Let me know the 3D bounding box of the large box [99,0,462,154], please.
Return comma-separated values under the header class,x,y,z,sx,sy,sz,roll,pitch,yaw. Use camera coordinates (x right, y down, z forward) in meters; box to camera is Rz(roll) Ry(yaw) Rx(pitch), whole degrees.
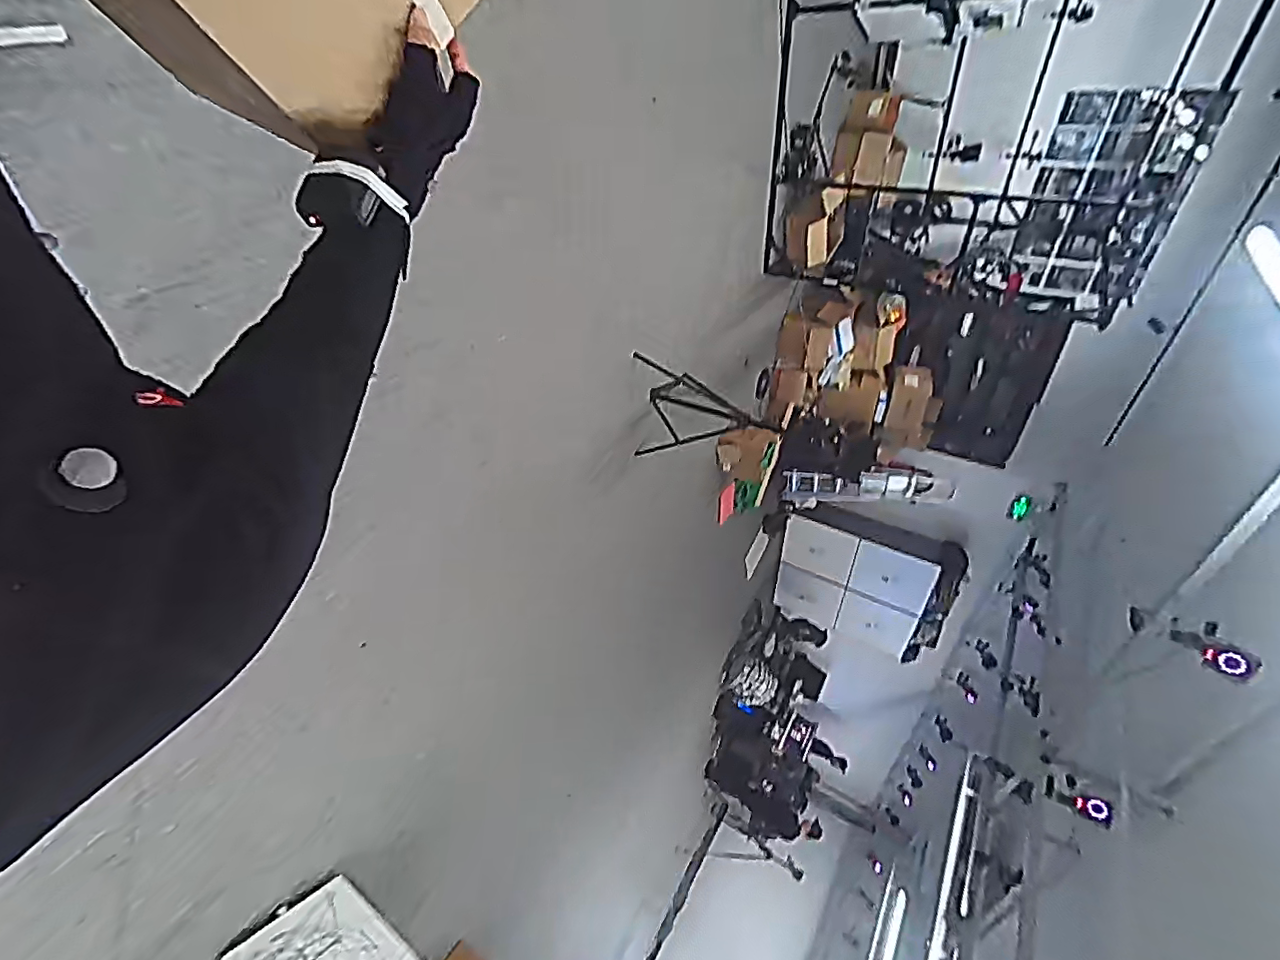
class,x,y,z,sx,sy,sz,roll,pitch,yaw
large box,-0.367,-0.550,0.384,0.320,0.320,0.408,-54,158,-3
